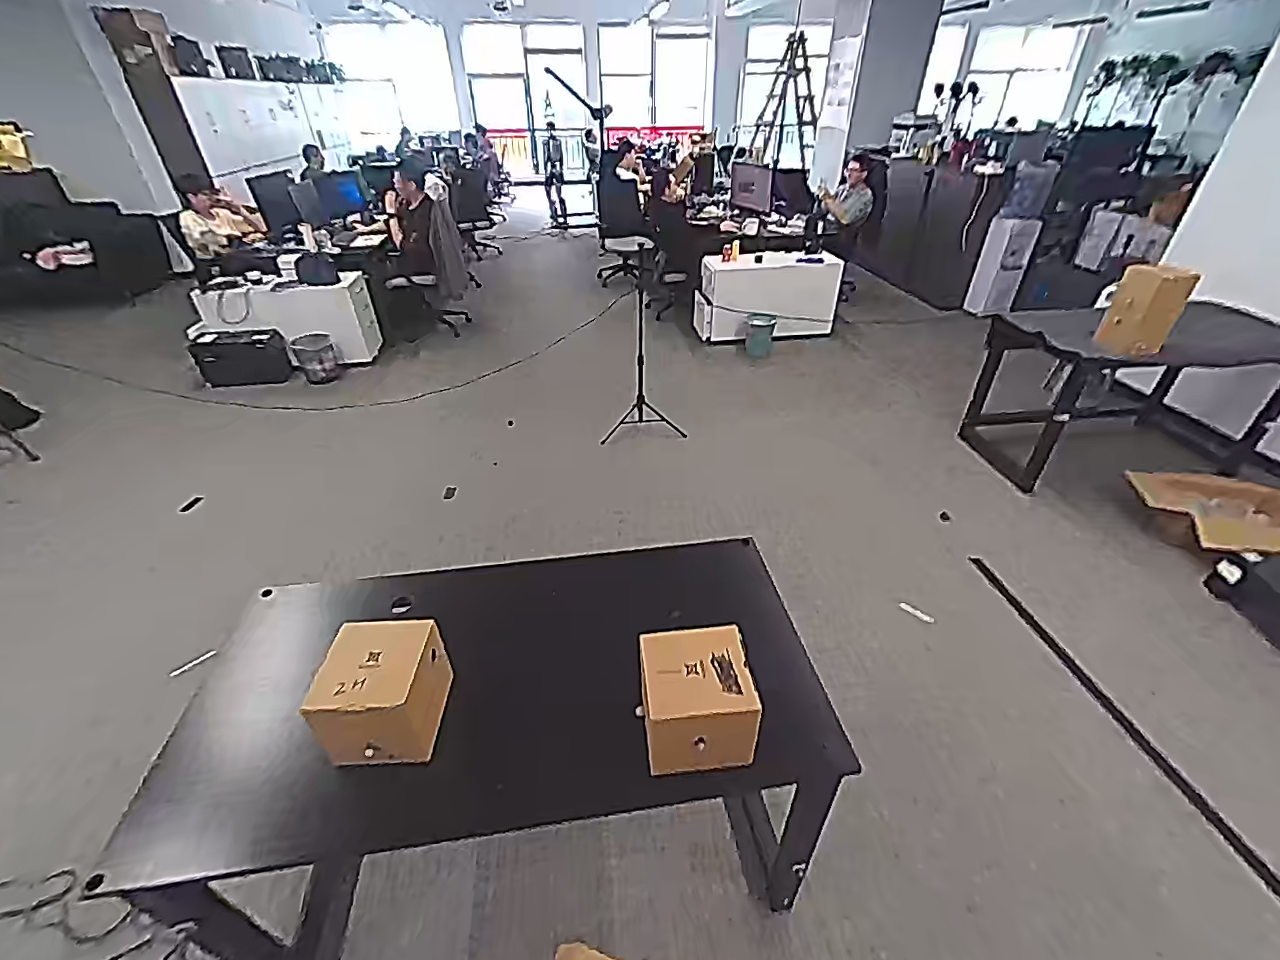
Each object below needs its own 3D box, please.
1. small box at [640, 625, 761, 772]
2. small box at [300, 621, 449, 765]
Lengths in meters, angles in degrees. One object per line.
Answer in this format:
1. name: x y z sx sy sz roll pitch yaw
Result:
1. small box: 0.094 0.374 0.930 0.179 0.176 0.168 -5 35 -3
2. small box: -0.449 0.371 0.950 0.168 0.176 0.179 -2 36 -1
